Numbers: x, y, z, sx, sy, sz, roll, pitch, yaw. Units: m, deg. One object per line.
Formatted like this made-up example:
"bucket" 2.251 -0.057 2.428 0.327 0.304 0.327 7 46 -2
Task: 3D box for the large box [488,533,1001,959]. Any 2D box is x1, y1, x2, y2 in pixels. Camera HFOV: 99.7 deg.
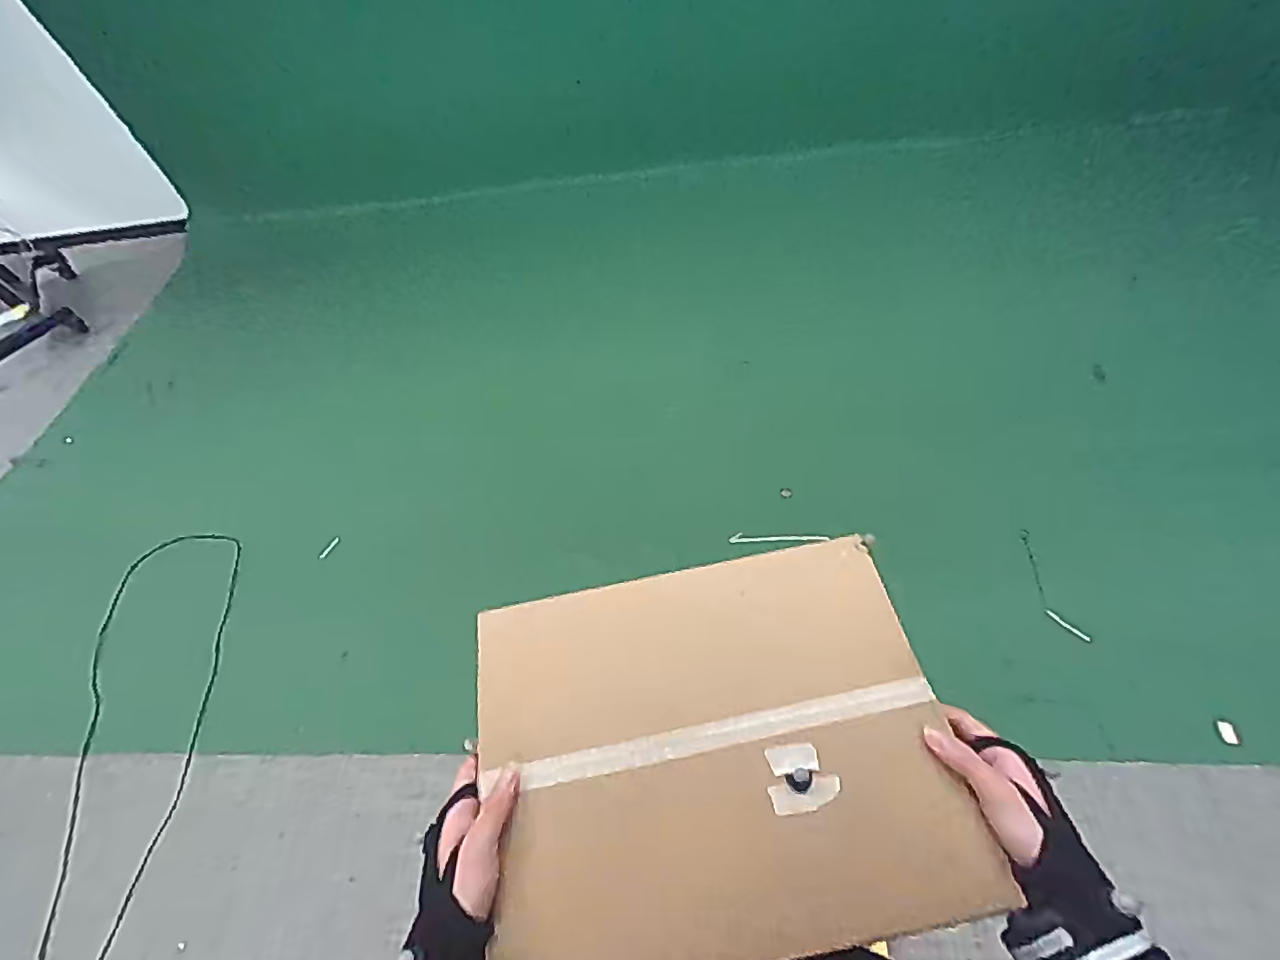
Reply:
"large box" 0.074 0.302 0.618 0.408 0.320 0.320 -12 58 -2
